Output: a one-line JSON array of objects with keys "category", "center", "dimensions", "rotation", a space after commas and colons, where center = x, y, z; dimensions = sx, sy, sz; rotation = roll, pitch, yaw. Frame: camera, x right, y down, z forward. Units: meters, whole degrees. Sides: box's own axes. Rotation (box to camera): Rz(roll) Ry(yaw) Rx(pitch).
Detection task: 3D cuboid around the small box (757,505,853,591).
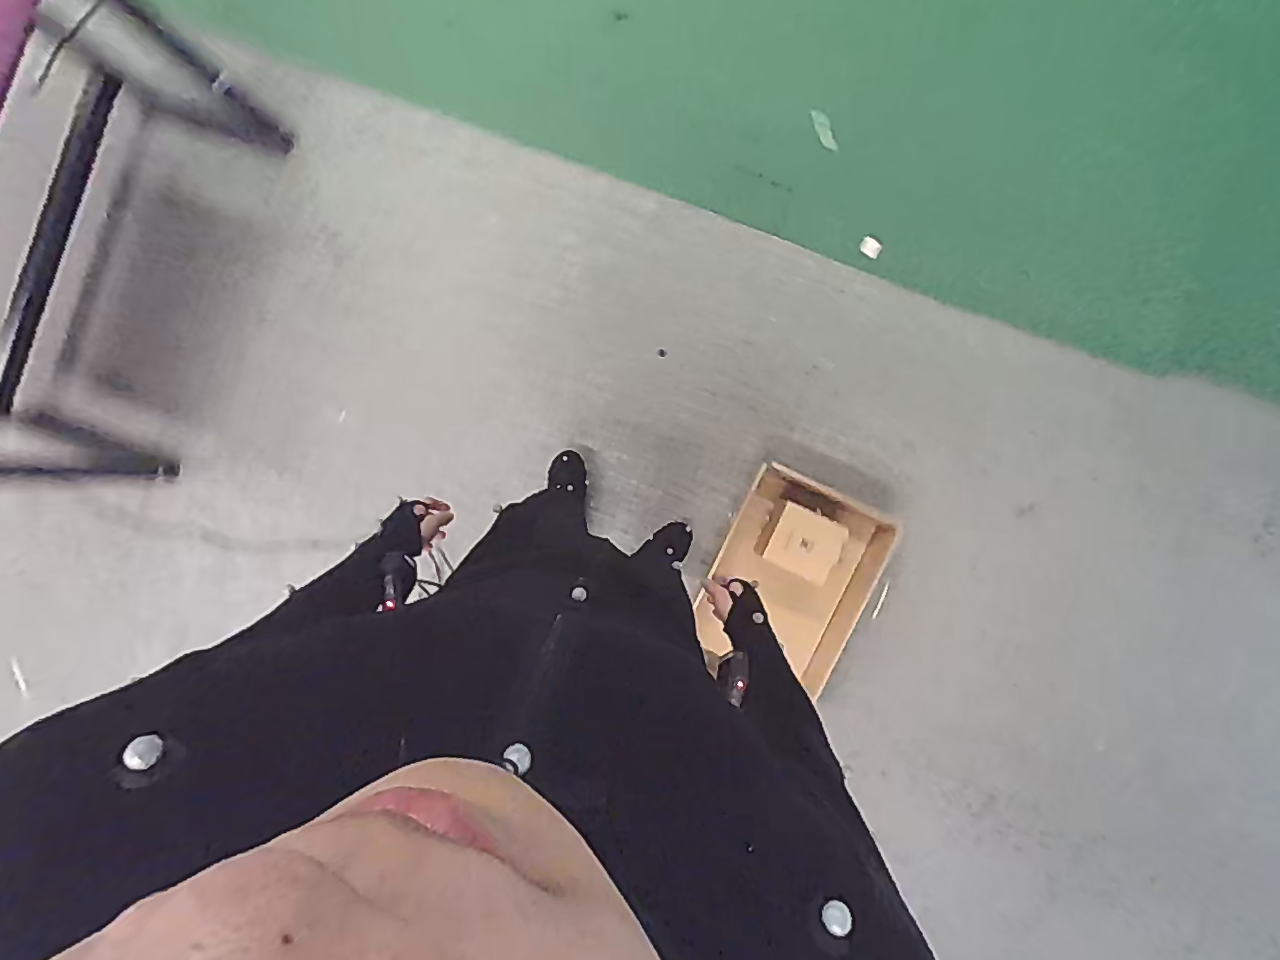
[{"category": "small box", "center": [0.436, 0.173, 1.457], "dimensions": [0.179, 0.176, 0.168], "rotation": [27, 92, 4]}]
